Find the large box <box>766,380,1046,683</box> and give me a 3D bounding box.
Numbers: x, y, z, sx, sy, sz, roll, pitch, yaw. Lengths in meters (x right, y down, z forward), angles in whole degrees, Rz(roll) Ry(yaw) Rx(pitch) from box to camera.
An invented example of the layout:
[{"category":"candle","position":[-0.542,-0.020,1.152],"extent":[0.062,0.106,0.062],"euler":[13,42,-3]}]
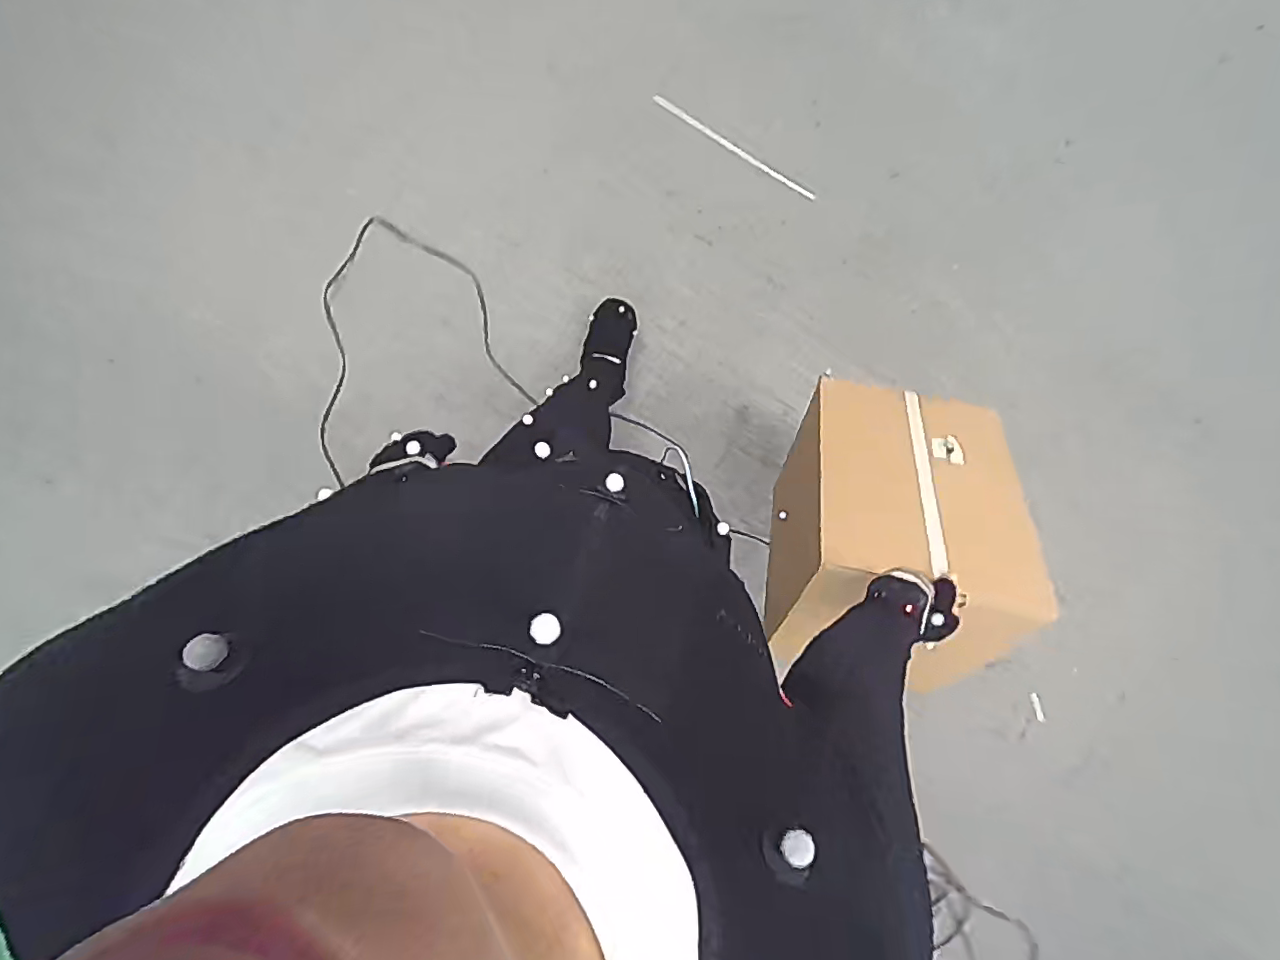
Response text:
[{"category":"large box","position":[0.420,0.089,0.967],"extent":[0.320,0.408,0.320],"euler":[13,139,4]}]
